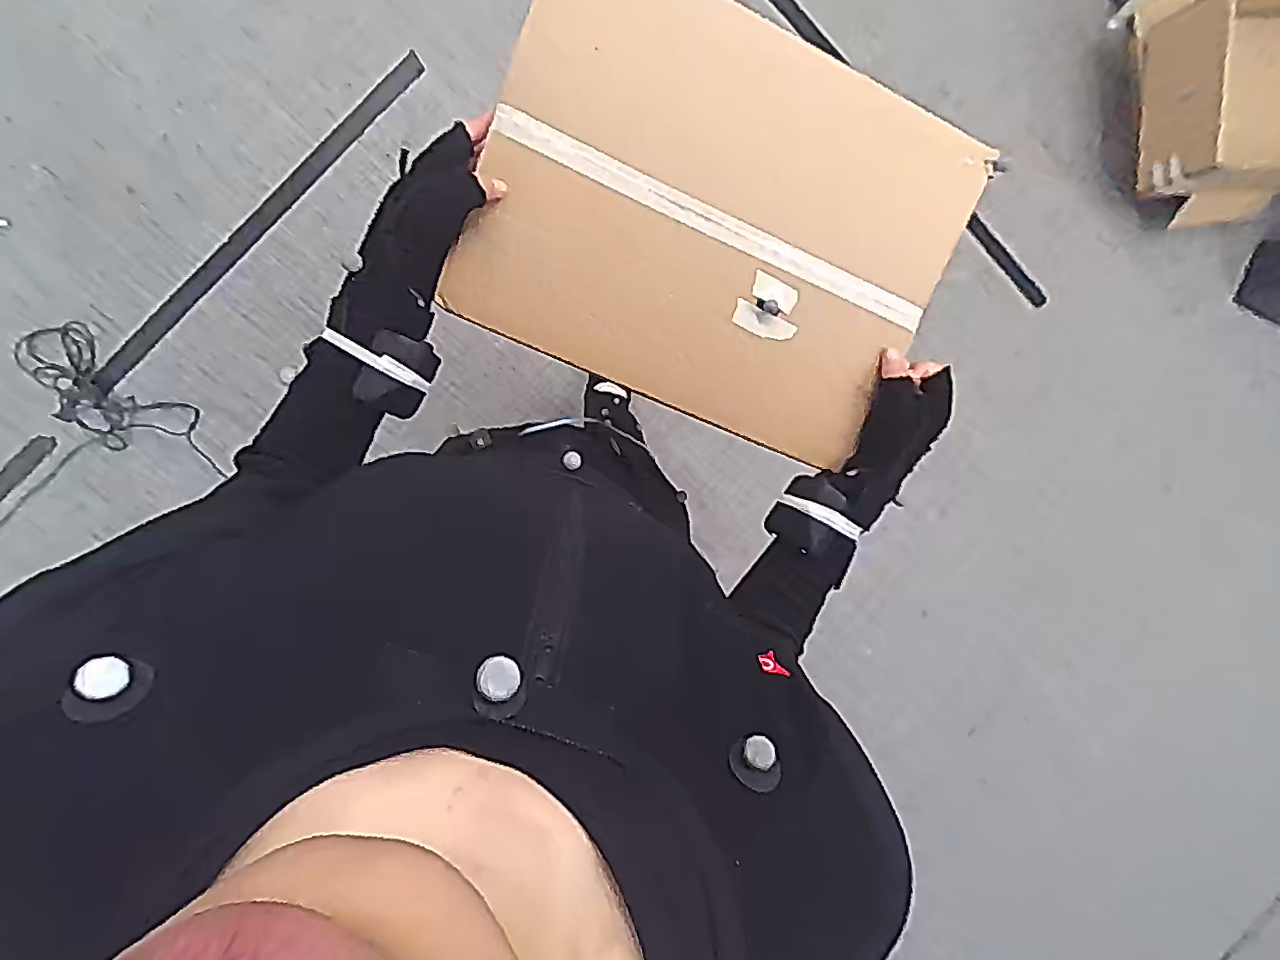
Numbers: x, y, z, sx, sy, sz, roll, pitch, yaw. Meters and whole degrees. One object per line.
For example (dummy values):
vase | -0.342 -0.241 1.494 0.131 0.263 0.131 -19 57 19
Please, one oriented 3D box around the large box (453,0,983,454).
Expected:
large box | 0.056 -0.261 0.621 0.408 0.320 0.320 21 100 -11
